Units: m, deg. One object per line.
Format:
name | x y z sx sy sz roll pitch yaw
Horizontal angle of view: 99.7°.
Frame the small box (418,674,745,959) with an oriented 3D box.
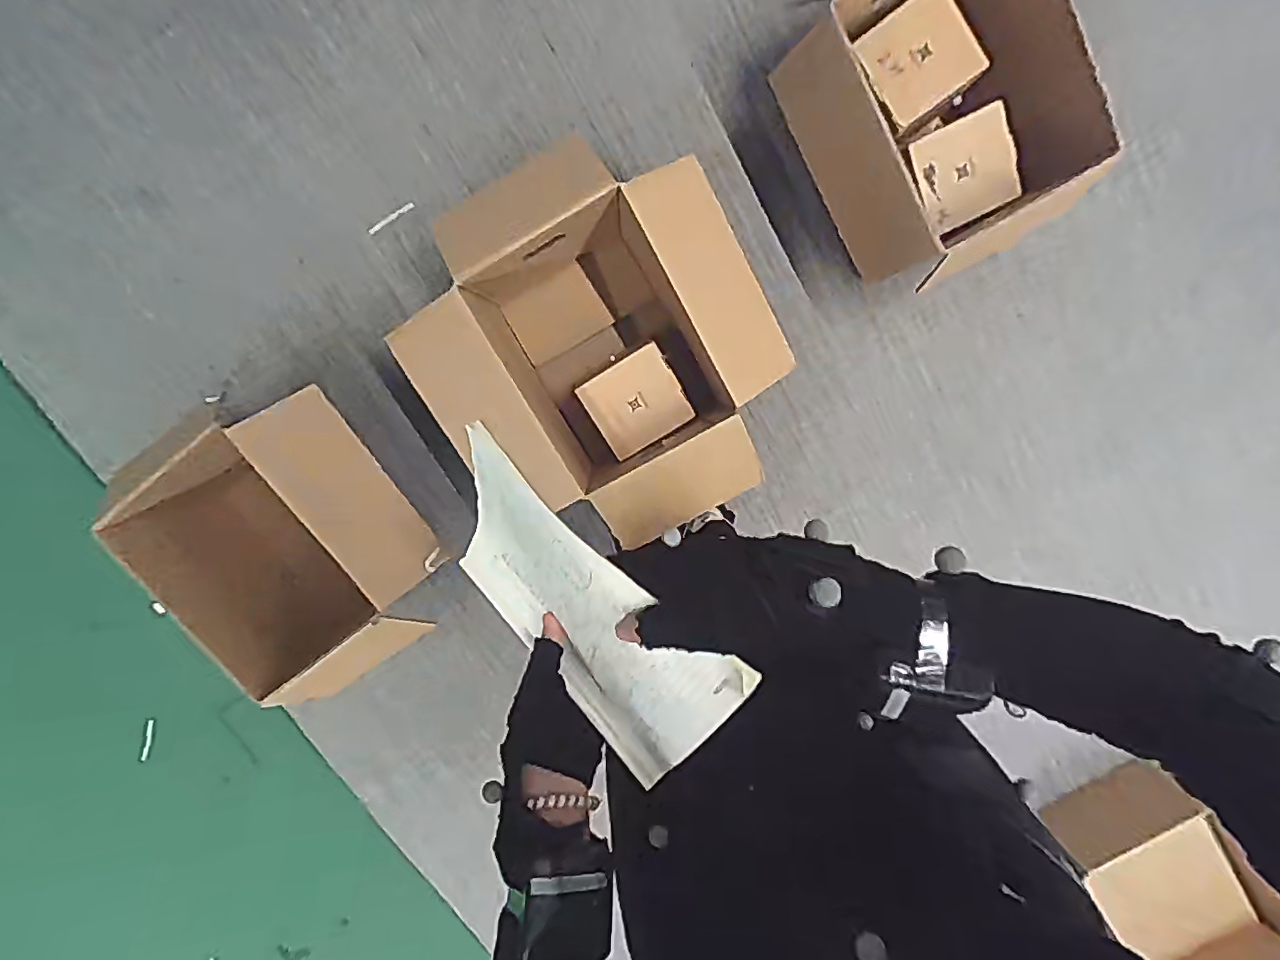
small box | -0.042 0.291 0.400 0.168 0.179 0.176 22 122 15
